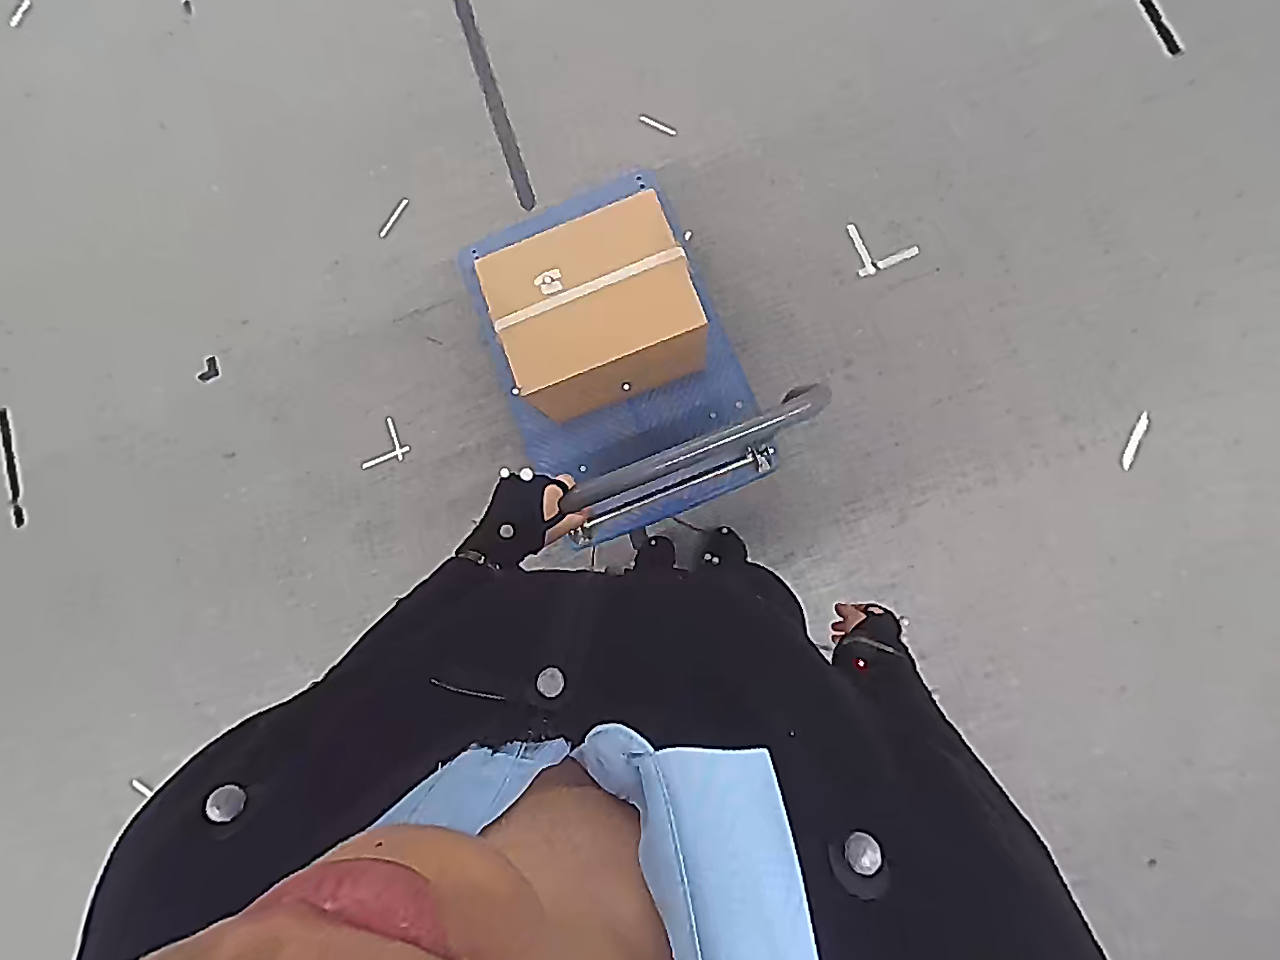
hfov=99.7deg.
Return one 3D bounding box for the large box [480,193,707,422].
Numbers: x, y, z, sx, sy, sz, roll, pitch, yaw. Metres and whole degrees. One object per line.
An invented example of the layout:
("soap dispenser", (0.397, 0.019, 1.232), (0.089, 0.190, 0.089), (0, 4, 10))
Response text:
("large box", (-0.085, -0.369, 1.255), (0.408, 0.320, 0.320), (-21, 82, 4))
